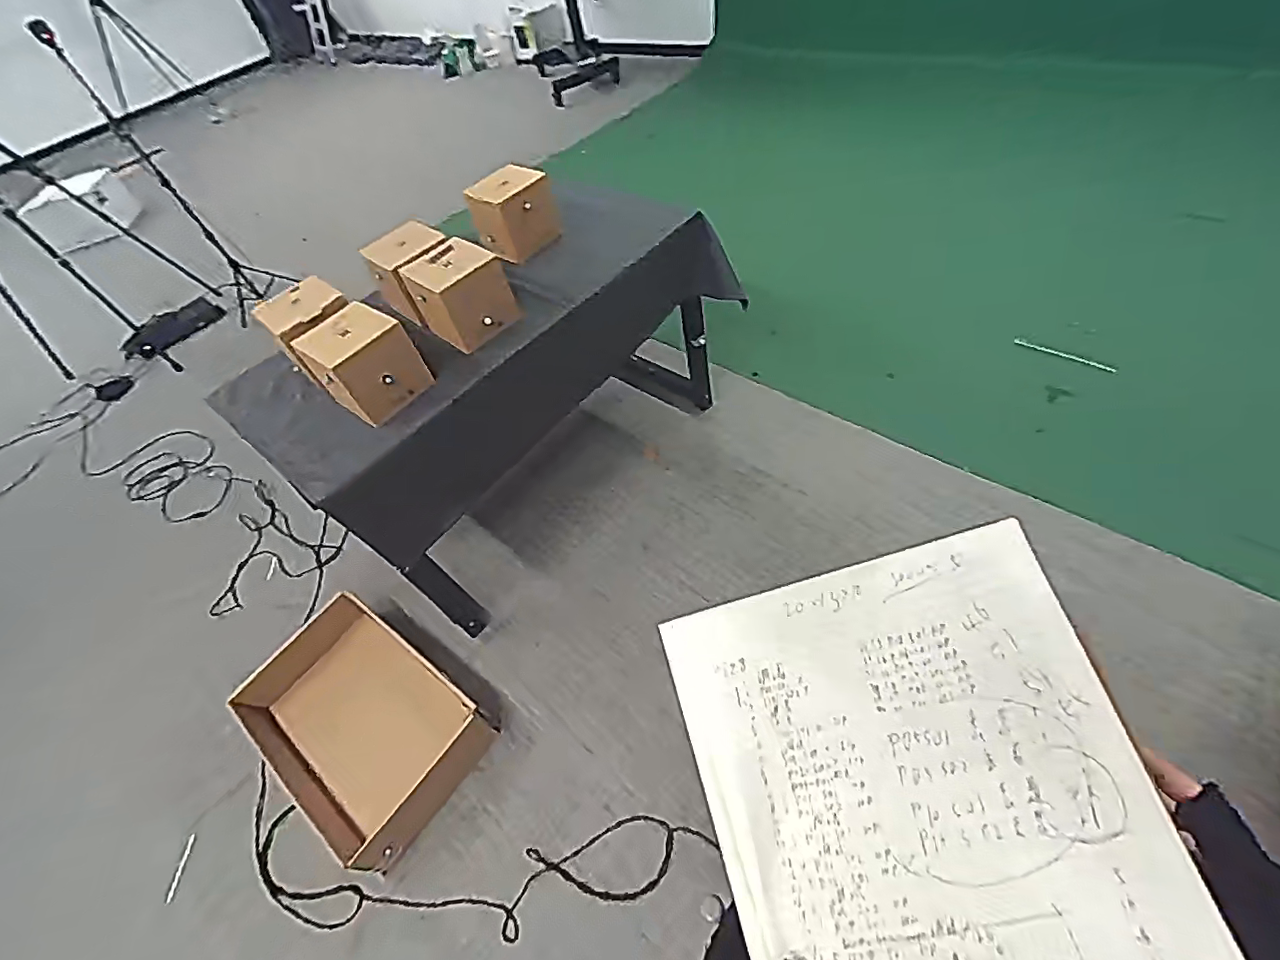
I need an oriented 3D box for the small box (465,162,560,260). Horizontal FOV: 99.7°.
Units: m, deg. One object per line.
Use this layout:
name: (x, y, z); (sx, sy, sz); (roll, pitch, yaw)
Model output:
small box: (-0.340, -0.740, 1.488); (0.168, 0.176, 0.179); (32, 66, 31)
